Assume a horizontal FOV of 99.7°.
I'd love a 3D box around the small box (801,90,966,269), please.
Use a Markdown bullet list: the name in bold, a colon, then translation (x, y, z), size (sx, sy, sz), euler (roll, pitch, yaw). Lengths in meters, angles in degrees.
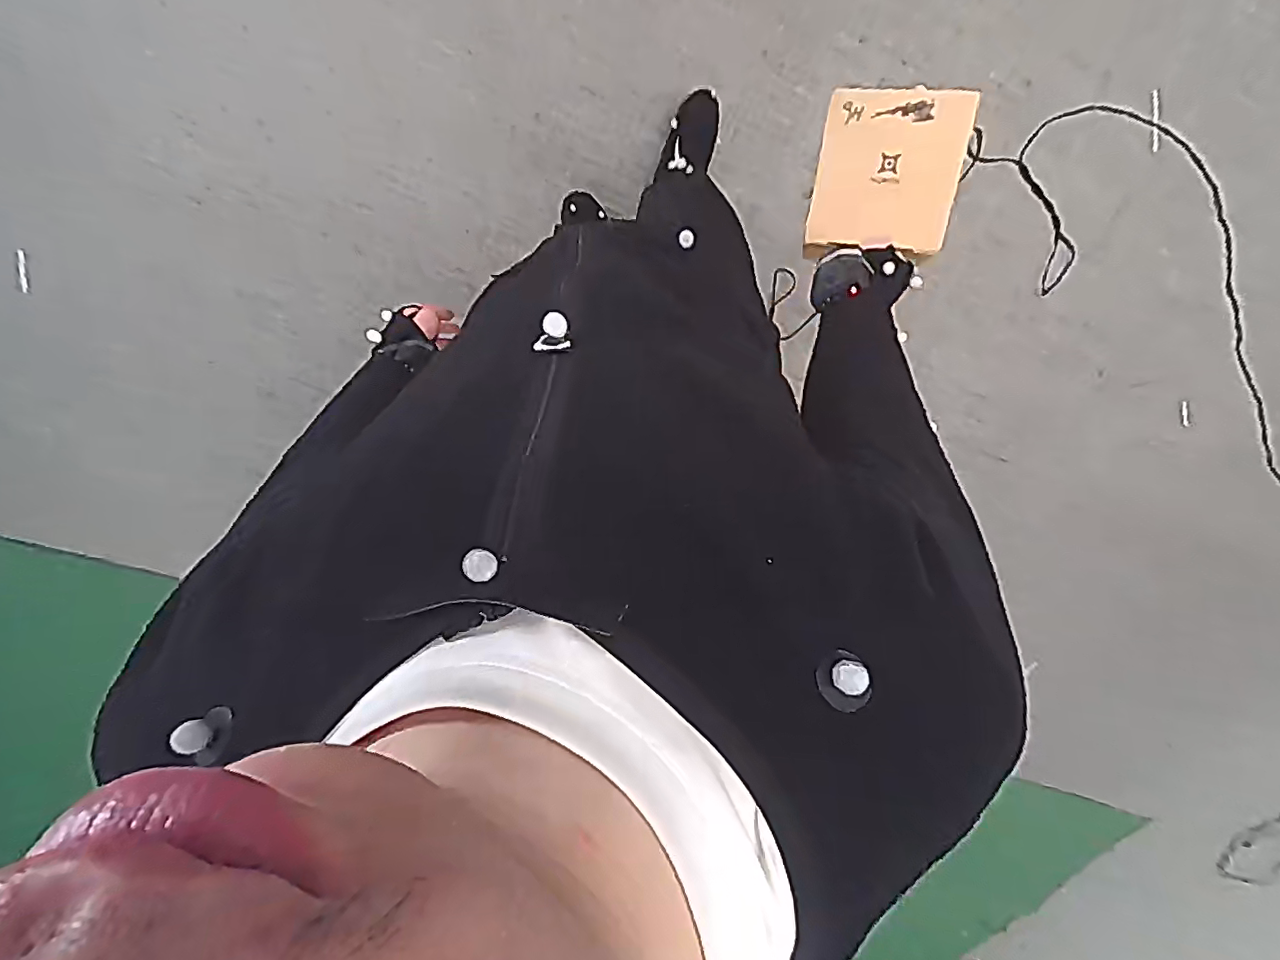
- **small box**: translation (0.319, -0.395, 0.742), size (0.168, 0.176, 0.179), euler (8, 102, 15)
